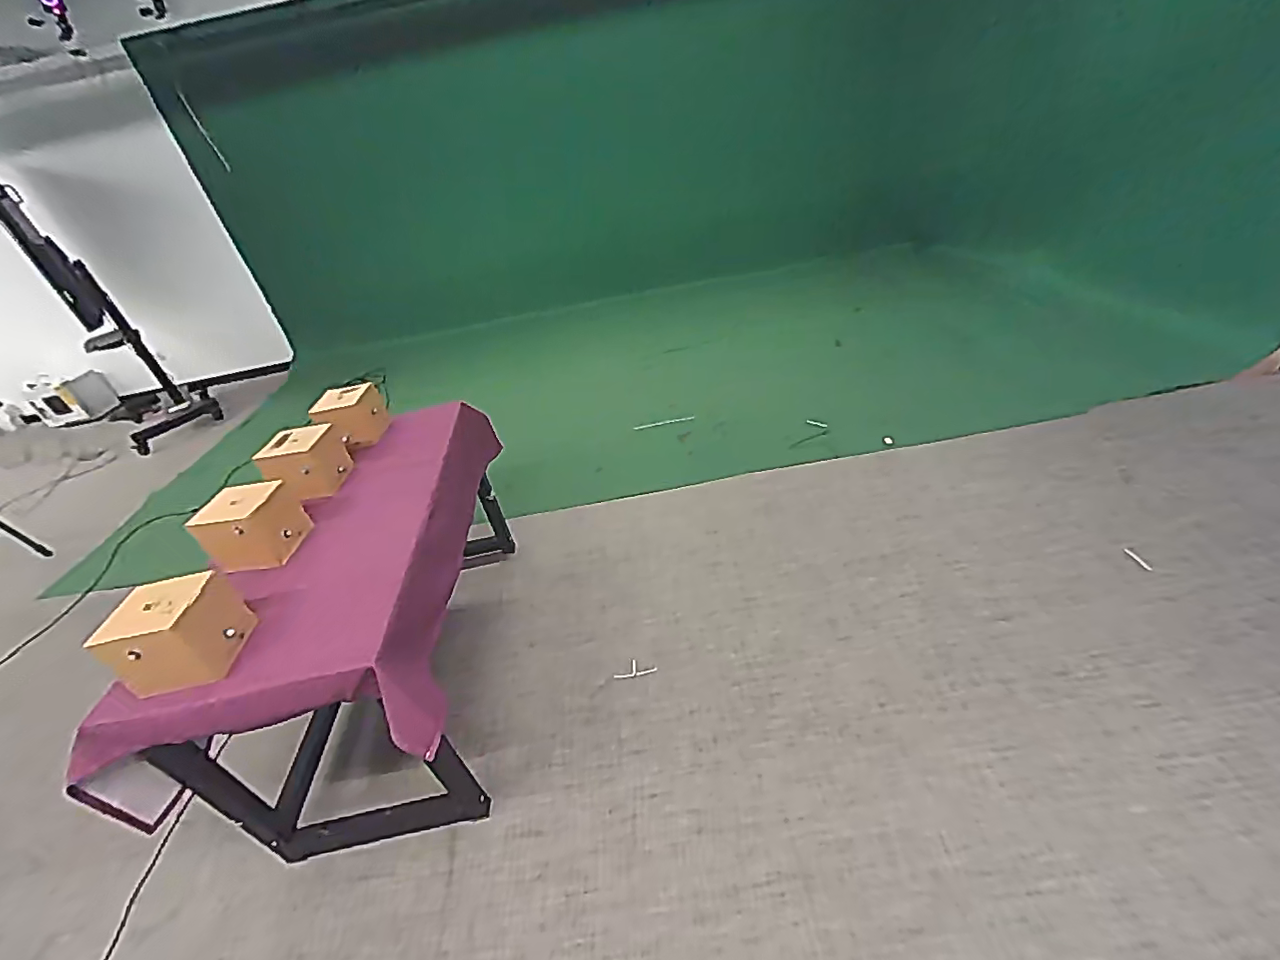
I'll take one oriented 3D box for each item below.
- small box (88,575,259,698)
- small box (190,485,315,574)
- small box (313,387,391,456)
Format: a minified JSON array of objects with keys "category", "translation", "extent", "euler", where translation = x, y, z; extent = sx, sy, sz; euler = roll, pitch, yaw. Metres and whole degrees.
[{"category":"small box","translation":[-0.964,0.332,1.139],"extent":[0.179,0.176,0.168],"euler":[-12,34,0]},{"category":"small box","translation":[-1.024,0.136,1.445],"extent":[0.179,0.176,0.168],"euler":[-7,35,6]},{"category":"small box","translation":[-1.015,-0.206,1.927],"extent":[0.168,0.176,0.179],"euler":[-11,36,2]}]
